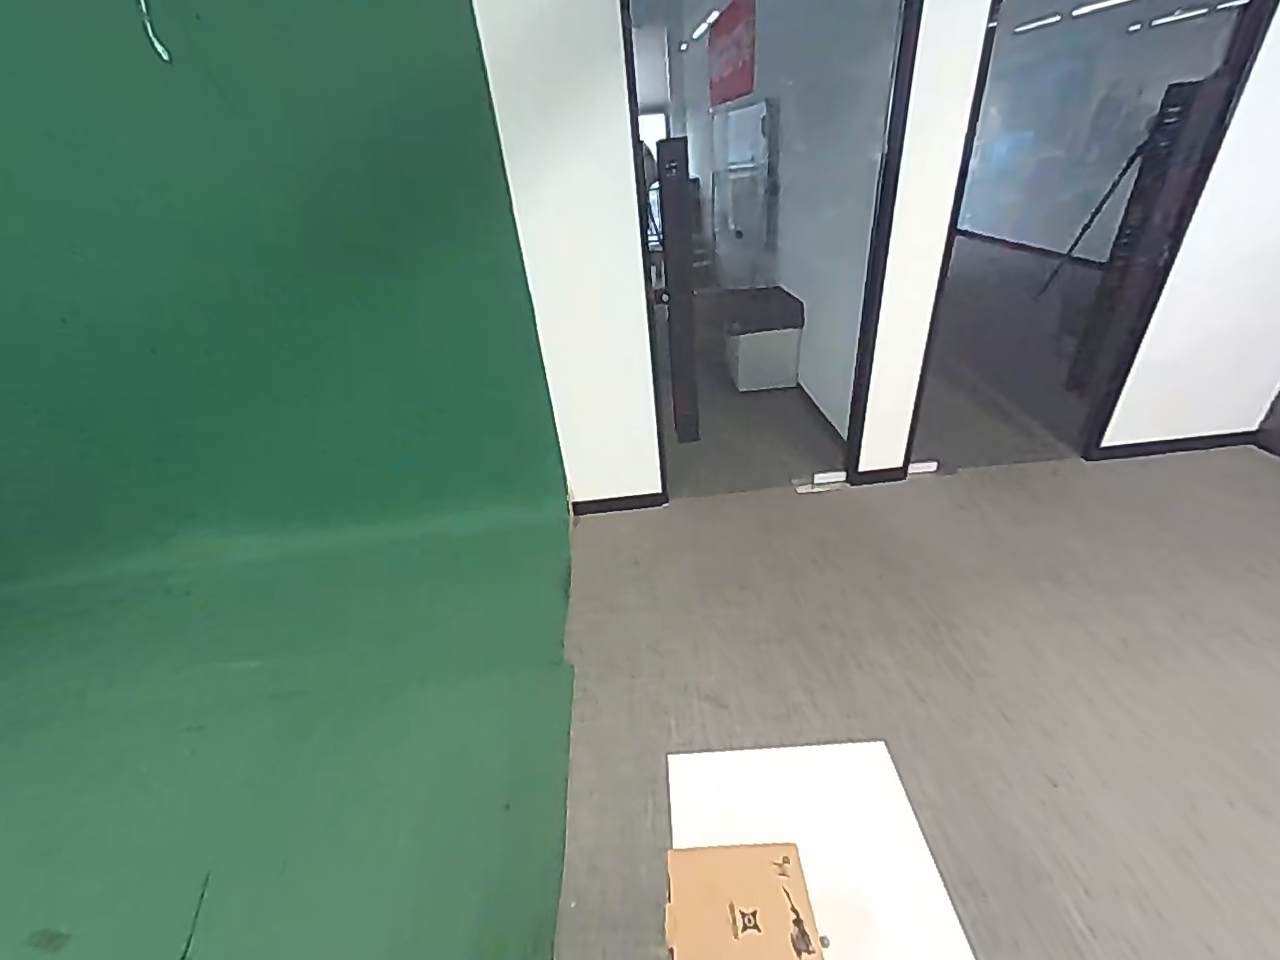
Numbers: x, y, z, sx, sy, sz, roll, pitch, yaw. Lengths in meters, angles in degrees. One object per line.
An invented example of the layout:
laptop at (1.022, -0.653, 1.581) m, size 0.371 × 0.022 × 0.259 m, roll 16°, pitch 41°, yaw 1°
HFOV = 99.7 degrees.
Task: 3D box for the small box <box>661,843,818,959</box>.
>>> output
small box at (0.122, 0.596, 0.690) m, size 0.179 × 0.176 × 0.168 m, roll -4°, pitch 32°, yaw 2°
